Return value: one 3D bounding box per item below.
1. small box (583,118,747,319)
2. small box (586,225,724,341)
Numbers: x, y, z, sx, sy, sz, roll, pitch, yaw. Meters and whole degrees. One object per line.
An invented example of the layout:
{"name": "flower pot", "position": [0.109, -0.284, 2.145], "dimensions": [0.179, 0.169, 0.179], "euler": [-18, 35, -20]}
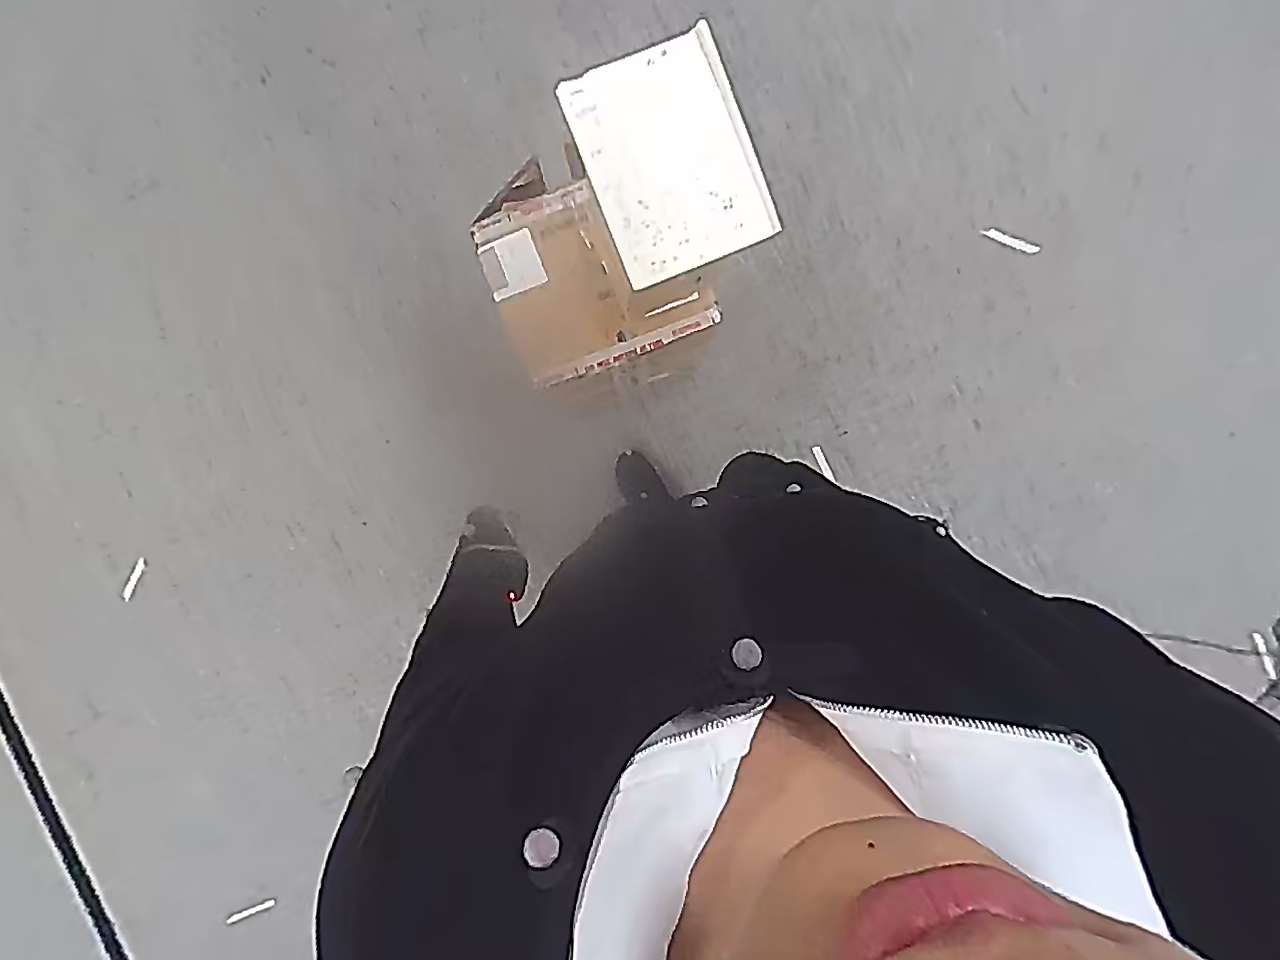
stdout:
{"name": "small box", "position": [0.028, -0.354, 0.766], "dimensions": [0.168, 0.176, 0.179], "euler": [-22, 94, -1]}
{"name": "small box", "position": [0.022, -0.360, 0.930], "dimensions": [0.179, 0.176, 0.168], "euler": [-25, 92, 0]}
